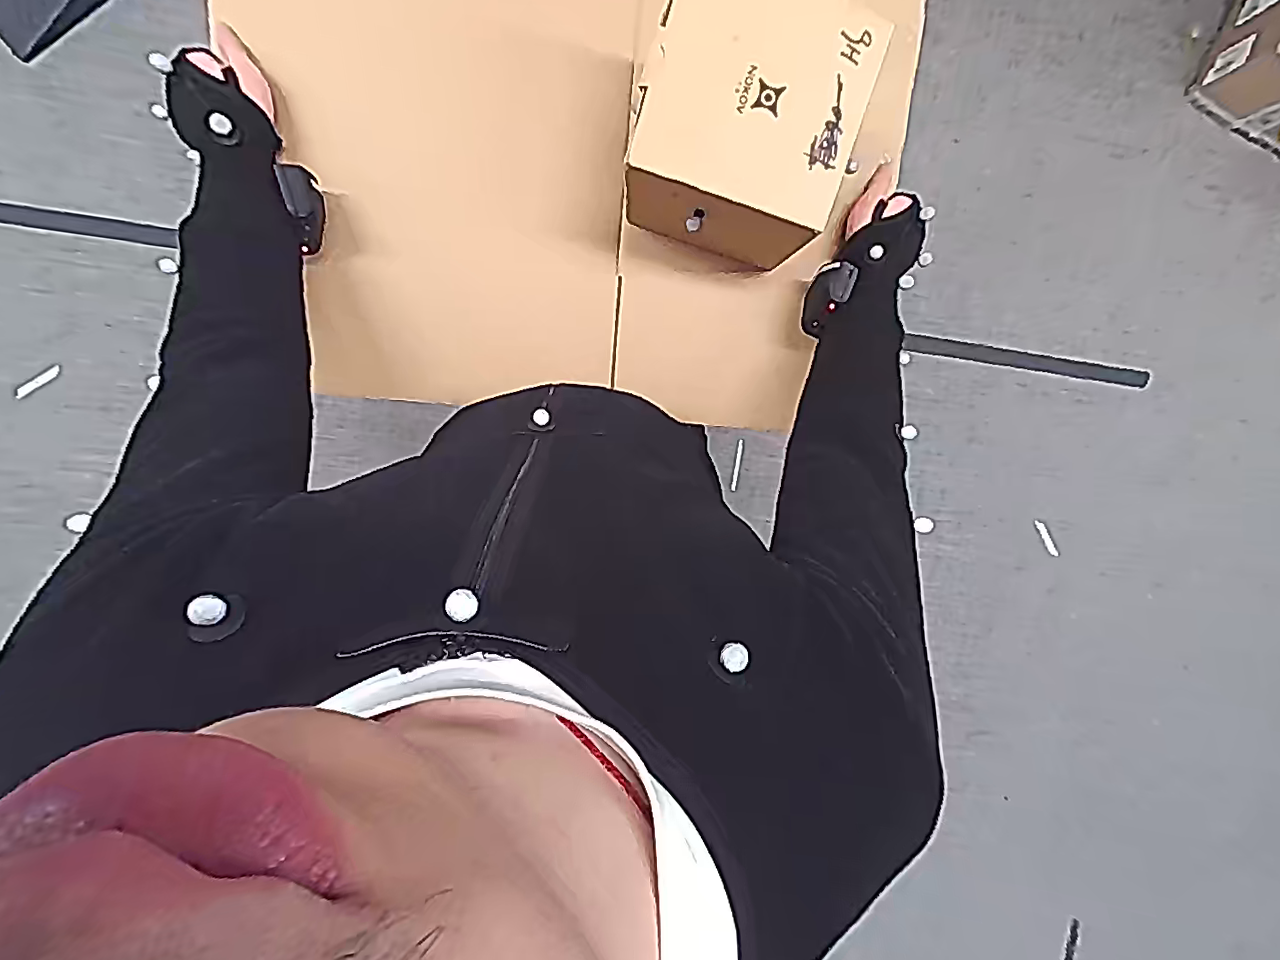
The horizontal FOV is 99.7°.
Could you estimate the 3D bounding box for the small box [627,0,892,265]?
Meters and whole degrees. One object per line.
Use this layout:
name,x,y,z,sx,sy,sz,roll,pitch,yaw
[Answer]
small box,0.096,-0.324,0.517,0.179,0.176,0.168,17,100,-3
